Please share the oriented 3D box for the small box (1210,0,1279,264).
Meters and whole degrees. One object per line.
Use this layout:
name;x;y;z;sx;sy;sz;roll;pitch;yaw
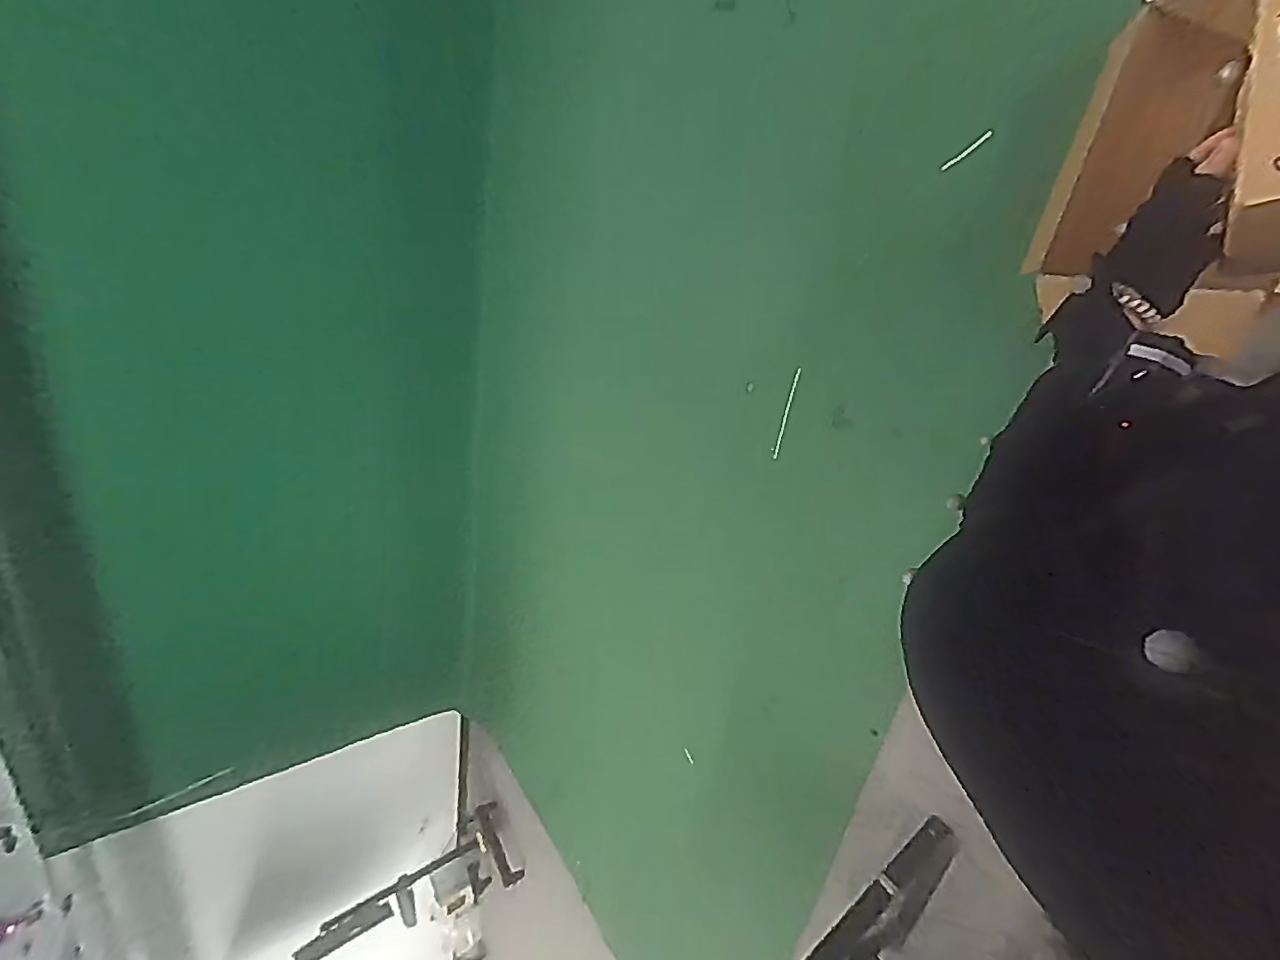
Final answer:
small box;0.511;-0.256;0.348;0.179;0.176;0.168;8;95;43
